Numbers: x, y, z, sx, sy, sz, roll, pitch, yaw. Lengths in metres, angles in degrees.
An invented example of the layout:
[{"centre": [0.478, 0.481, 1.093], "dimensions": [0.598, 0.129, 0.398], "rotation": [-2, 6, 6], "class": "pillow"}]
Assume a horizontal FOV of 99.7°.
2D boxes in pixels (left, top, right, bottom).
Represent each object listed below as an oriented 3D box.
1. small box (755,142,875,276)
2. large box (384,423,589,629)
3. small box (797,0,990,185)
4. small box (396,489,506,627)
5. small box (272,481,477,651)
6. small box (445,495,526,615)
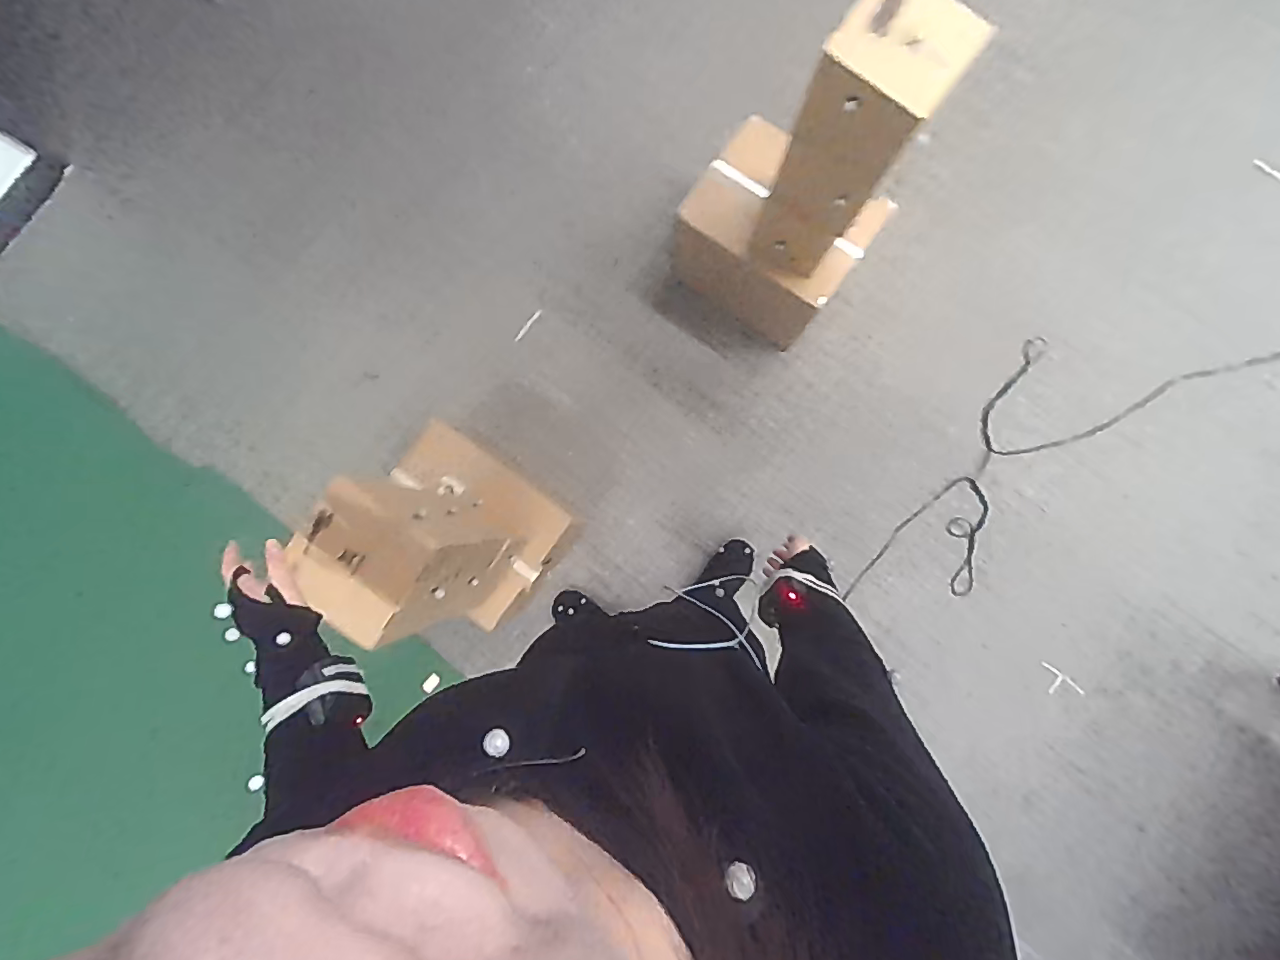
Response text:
[{"centre": [0.367, -0.579, 1.158], "dimensions": [0.168, 0.176, 0.179], "rotation": [34, 88, 4], "class": "small box"}, {"centre": [-0.393, 0.112, 1.369], "dimensions": [0.408, 0.320, 0.320], "rotation": [36, 87, 5], "class": "large box"}, {"centre": [0.370, -0.600, 0.829], "dimensions": [0.179, 0.176, 0.168], "rotation": [38, 89, 2], "class": "small box"}, {"centre": [-0.366, 0.131, 0.958], "dimensions": [0.179, 0.176, 0.168], "rotation": [31, 87, 5], "class": "small box"}, {"centre": [-0.371, 0.117, 0.794], "dimensions": [0.179, 0.176, 0.168], "rotation": [33, 87, 4], "class": "small box"}, {"centre": [-0.355, 0.148, 1.121], "dimensions": [0.168, 0.176, 0.179], "rotation": [35, 88, 5], "class": "small box"}]
